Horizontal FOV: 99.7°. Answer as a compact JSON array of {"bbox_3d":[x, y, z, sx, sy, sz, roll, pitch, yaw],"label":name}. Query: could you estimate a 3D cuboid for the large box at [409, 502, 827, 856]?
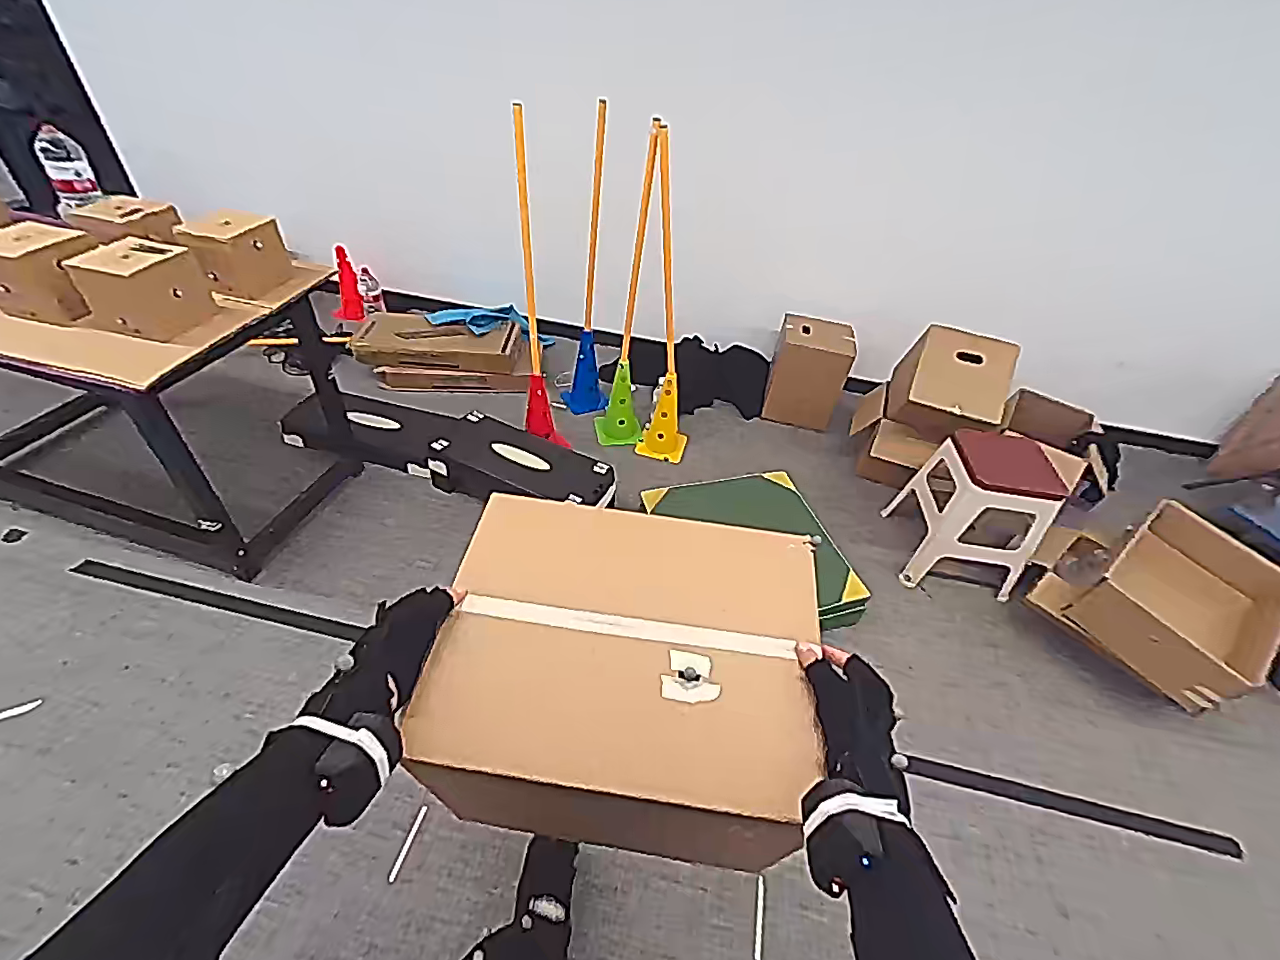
[{"bbox_3d":[-0.016,0.262,0.709,0.408,0.320,0.320,8,49,3],"label":"large box"}]
